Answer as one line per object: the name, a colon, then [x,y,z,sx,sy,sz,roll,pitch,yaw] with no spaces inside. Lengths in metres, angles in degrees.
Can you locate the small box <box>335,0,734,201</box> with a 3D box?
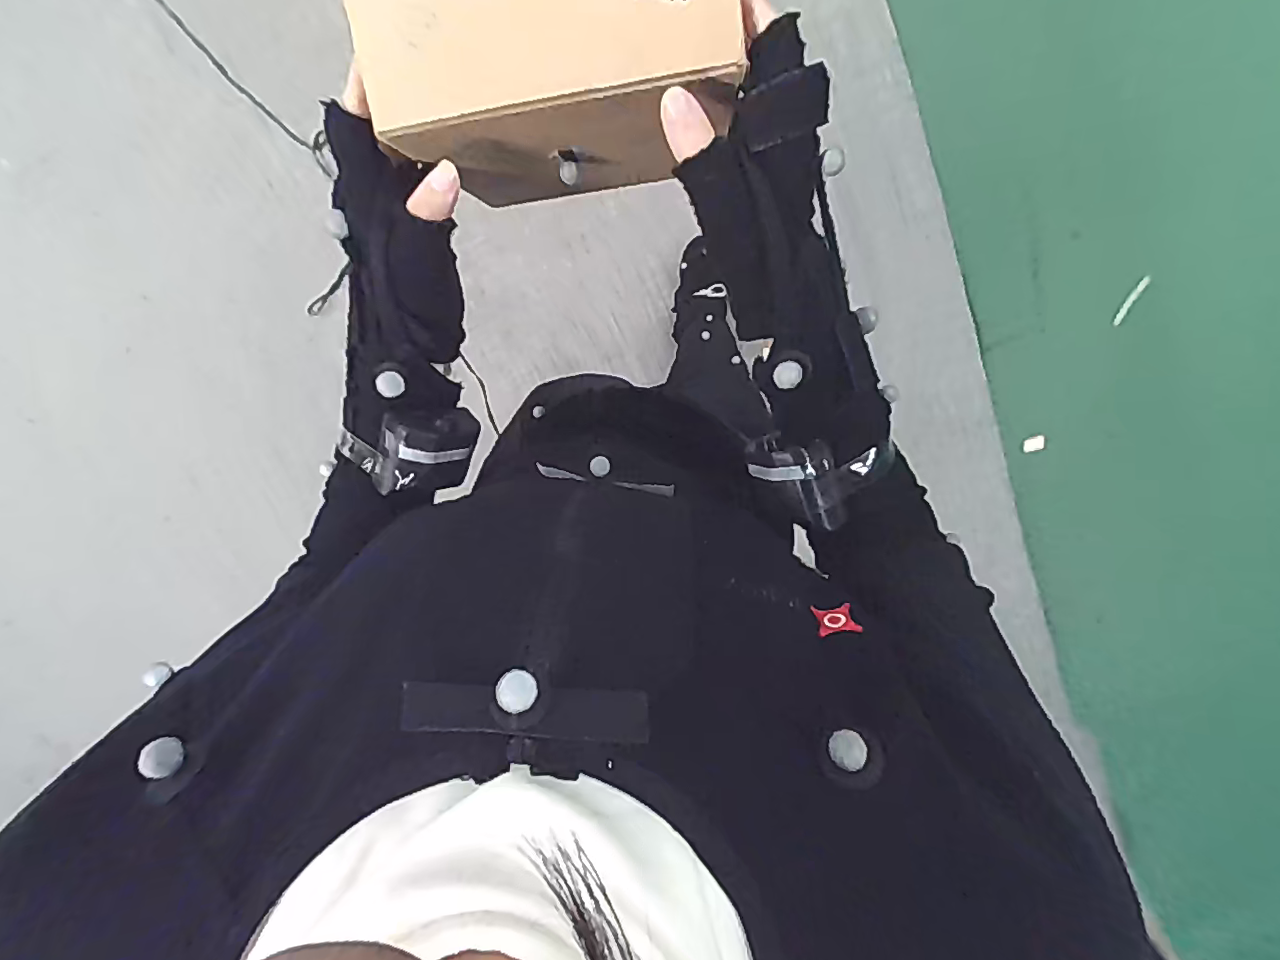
small box: [-0.048,-0.273,0.300,0.179,0.176,0.168,-7,105,8]
